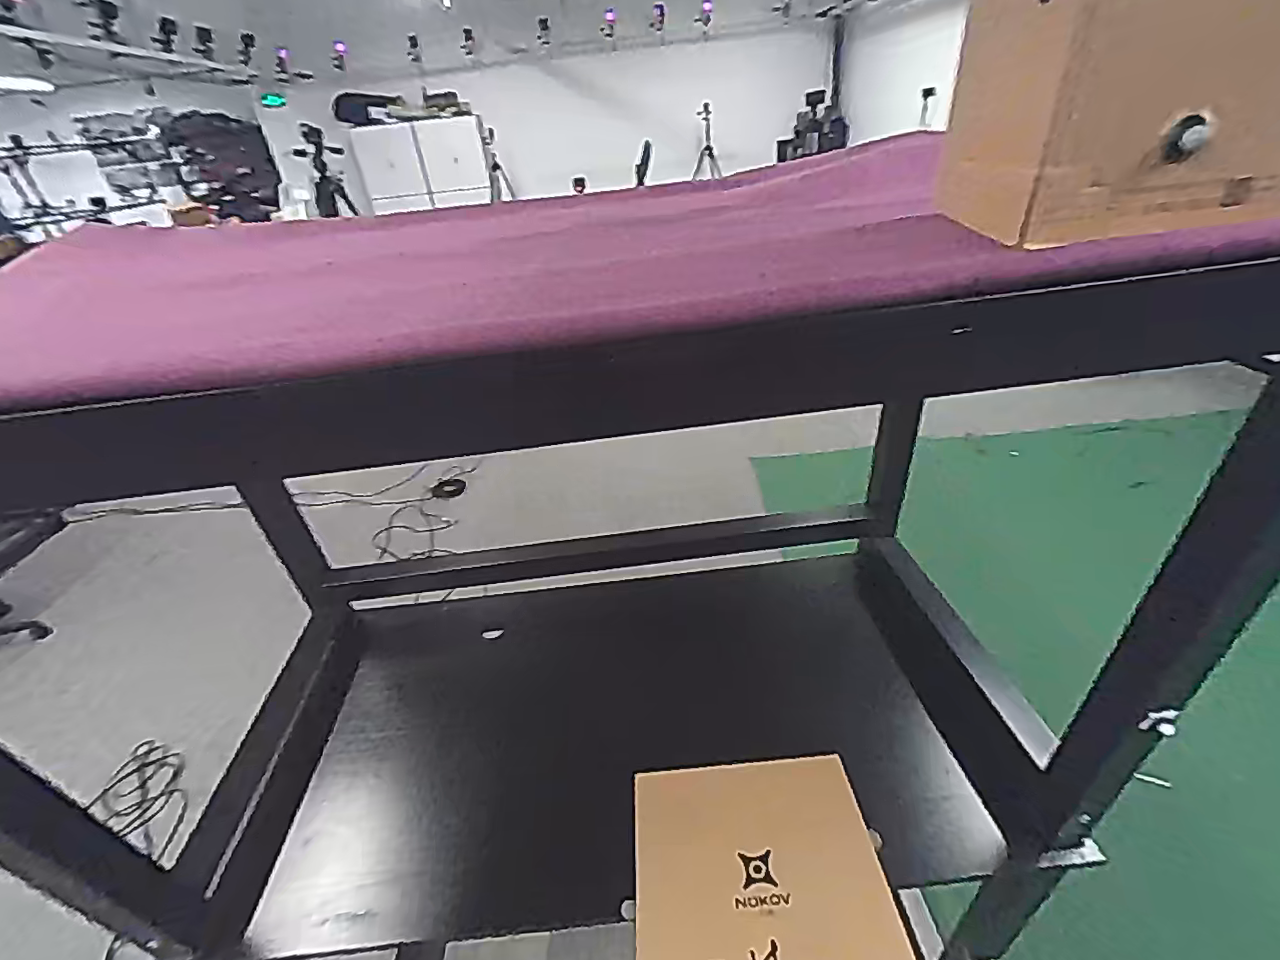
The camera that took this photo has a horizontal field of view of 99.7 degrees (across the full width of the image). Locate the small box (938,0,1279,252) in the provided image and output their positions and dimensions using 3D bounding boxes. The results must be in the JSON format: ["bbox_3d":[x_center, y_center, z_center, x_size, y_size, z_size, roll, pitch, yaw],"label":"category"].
[{"bbox_3d":[0.314,-0.252,0.343,0.168,0.176,0.179,-1,35,9],"label":"small box"}]
